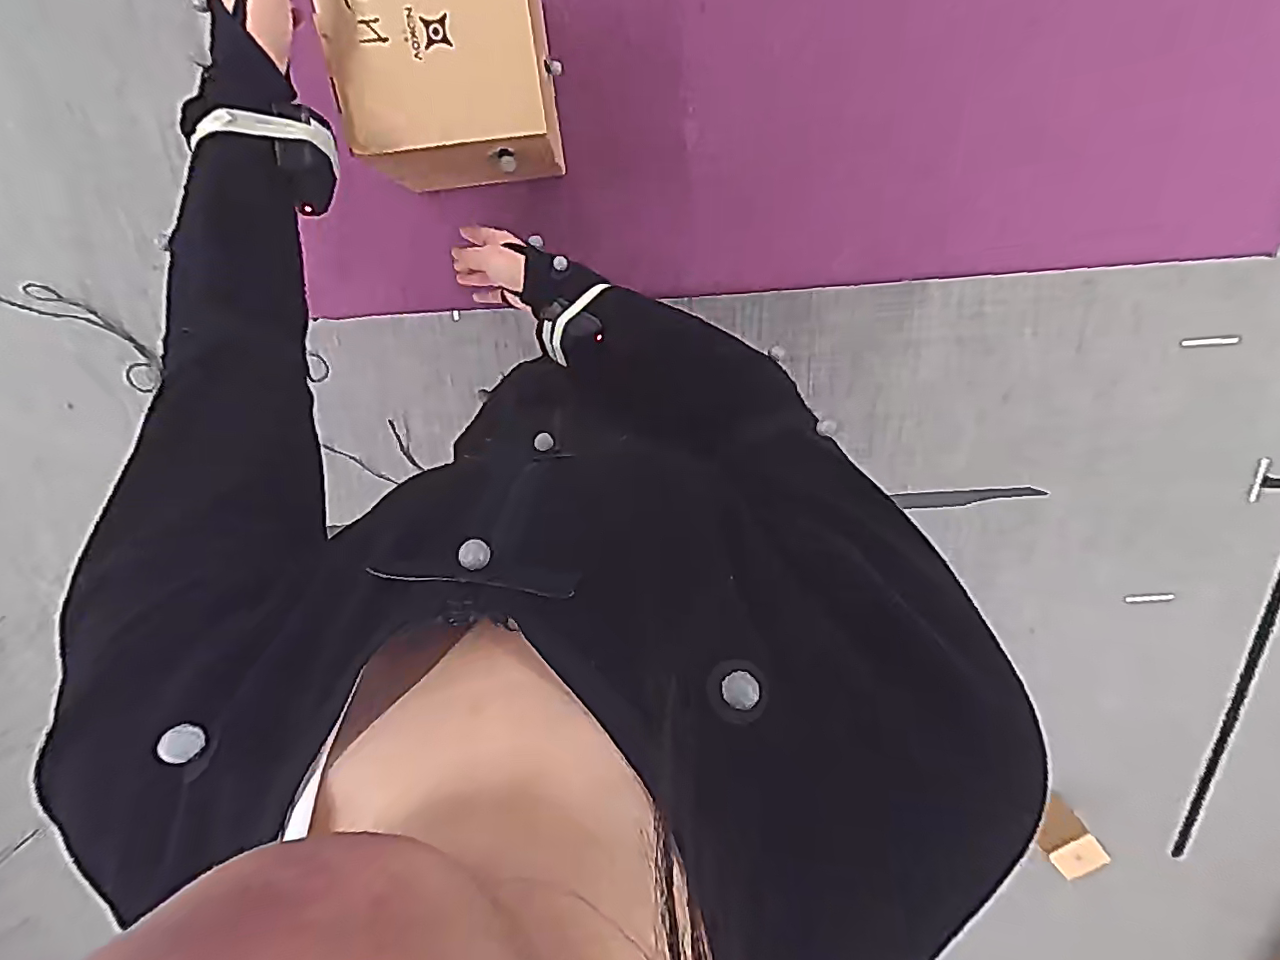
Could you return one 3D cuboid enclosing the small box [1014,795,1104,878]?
[{"bbox_3d":[1.511,1.284,1.962,0.168,0.176,0.179,-40,108,12],"label":"small box"}]

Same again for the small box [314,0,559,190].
[{"bbox_3d":[-0.176,-0.390,0.517,0.179,0.176,0.168,-7,108,0],"label":"small box"}]
